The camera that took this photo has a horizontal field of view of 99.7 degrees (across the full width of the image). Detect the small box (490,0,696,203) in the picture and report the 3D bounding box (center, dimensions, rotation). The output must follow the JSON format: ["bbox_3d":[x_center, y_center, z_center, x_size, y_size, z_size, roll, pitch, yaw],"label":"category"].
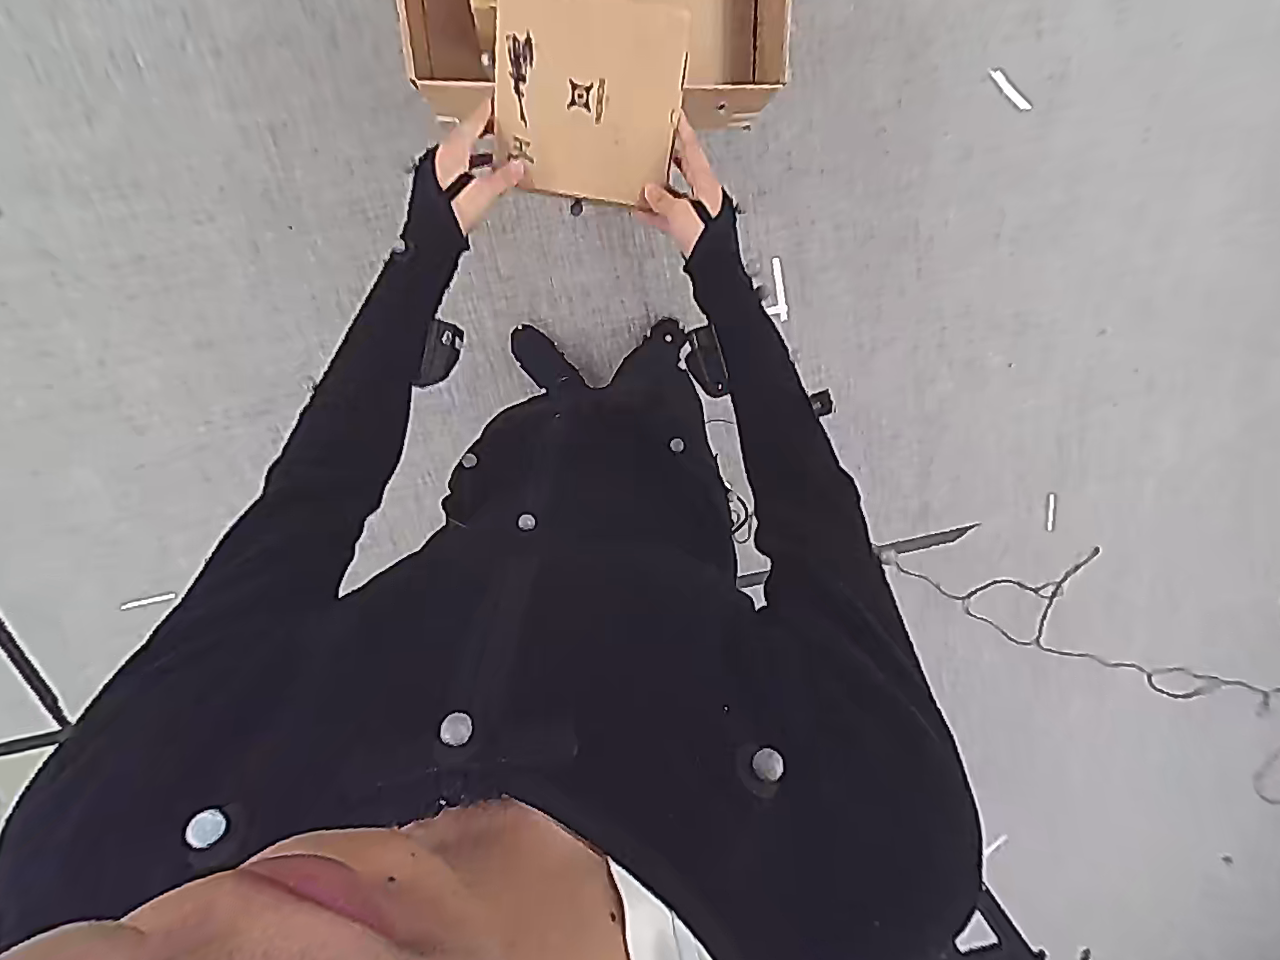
[{"bbox_3d":[-0.057,-0.400,0.572,0.179,0.176,0.168,5,115,-11],"label":"small box"}]

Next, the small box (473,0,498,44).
[{"bbox_3d":[-0.174,-0.812,0.859,0.168,0.176,0.179,-2,107,-8],"label":"small box"}]
